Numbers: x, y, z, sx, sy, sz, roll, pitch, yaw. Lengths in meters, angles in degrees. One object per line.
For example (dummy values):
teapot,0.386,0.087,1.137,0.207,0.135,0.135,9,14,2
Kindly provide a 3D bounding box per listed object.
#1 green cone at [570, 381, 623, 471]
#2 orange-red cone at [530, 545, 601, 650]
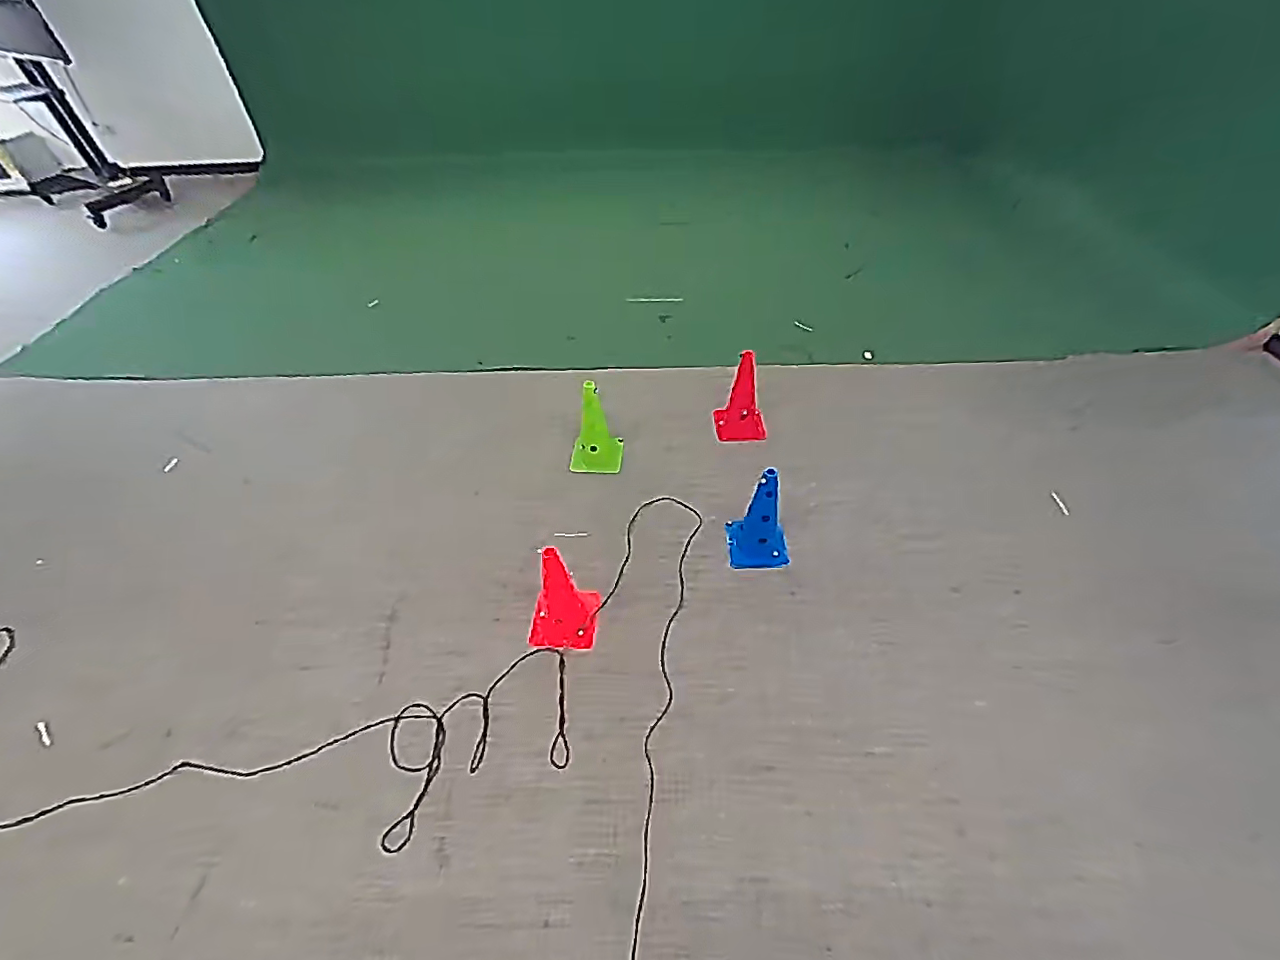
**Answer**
green cone,-0.180,-0.224,2.057,0.200,0.368,0.202,1,48,4
orange-red cone,-0.232,0.309,1.558,0.198,0.360,0.199,3,45,4
